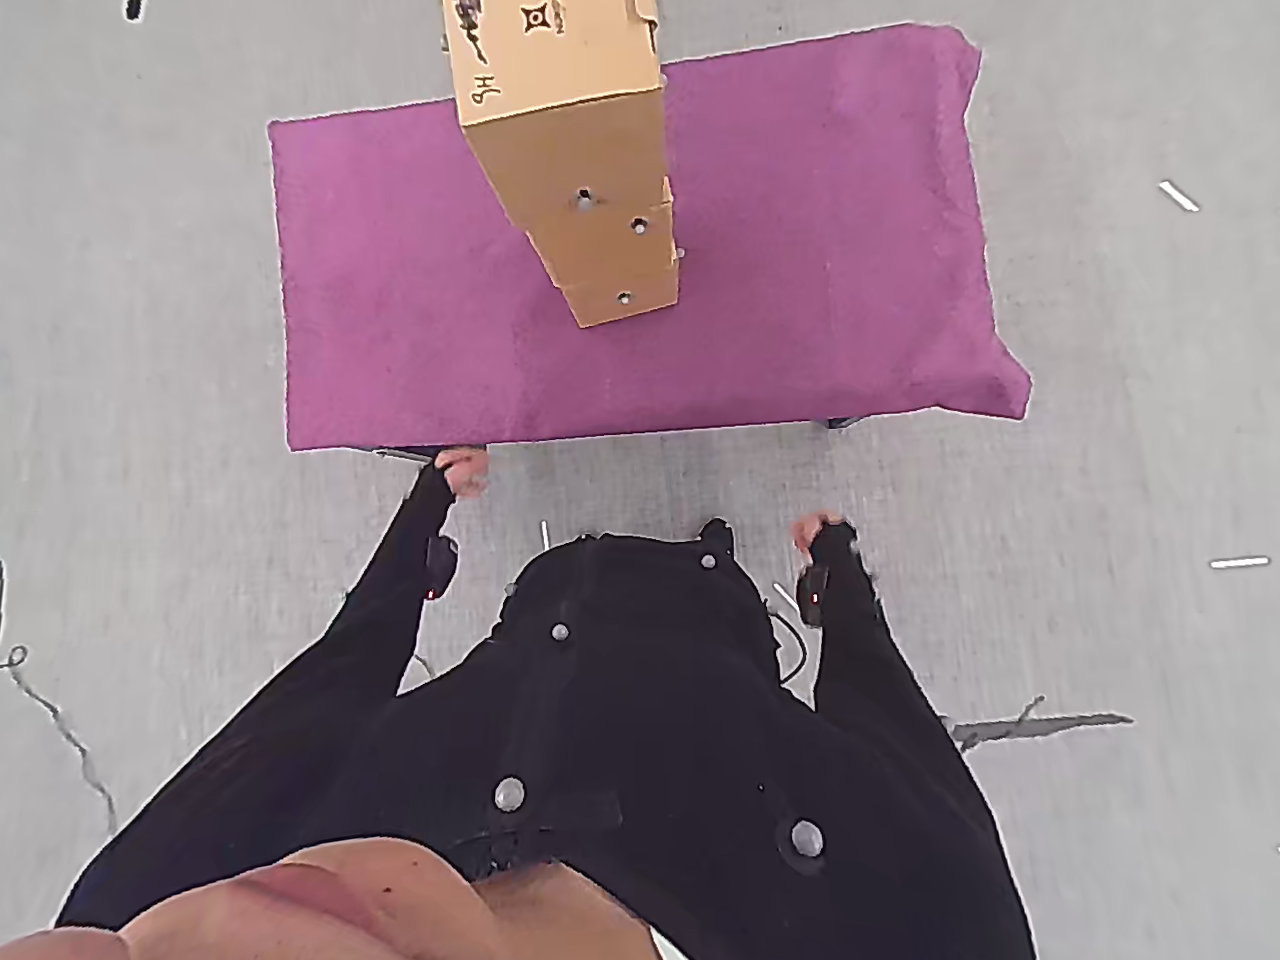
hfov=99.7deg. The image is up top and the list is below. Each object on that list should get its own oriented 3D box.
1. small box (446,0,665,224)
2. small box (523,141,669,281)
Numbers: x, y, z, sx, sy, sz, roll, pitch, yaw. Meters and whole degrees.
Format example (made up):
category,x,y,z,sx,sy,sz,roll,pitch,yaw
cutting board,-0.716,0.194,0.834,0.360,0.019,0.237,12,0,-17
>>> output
category,x,y,z,sx,sy,sz,roll,pitch,yaw
small box,-0.074,-0.385,0.539,0.179,0.176,0.168,-9,85,1
small box,-0.058,-0.378,0.703,0.179,0.176,0.168,-9,86,2
